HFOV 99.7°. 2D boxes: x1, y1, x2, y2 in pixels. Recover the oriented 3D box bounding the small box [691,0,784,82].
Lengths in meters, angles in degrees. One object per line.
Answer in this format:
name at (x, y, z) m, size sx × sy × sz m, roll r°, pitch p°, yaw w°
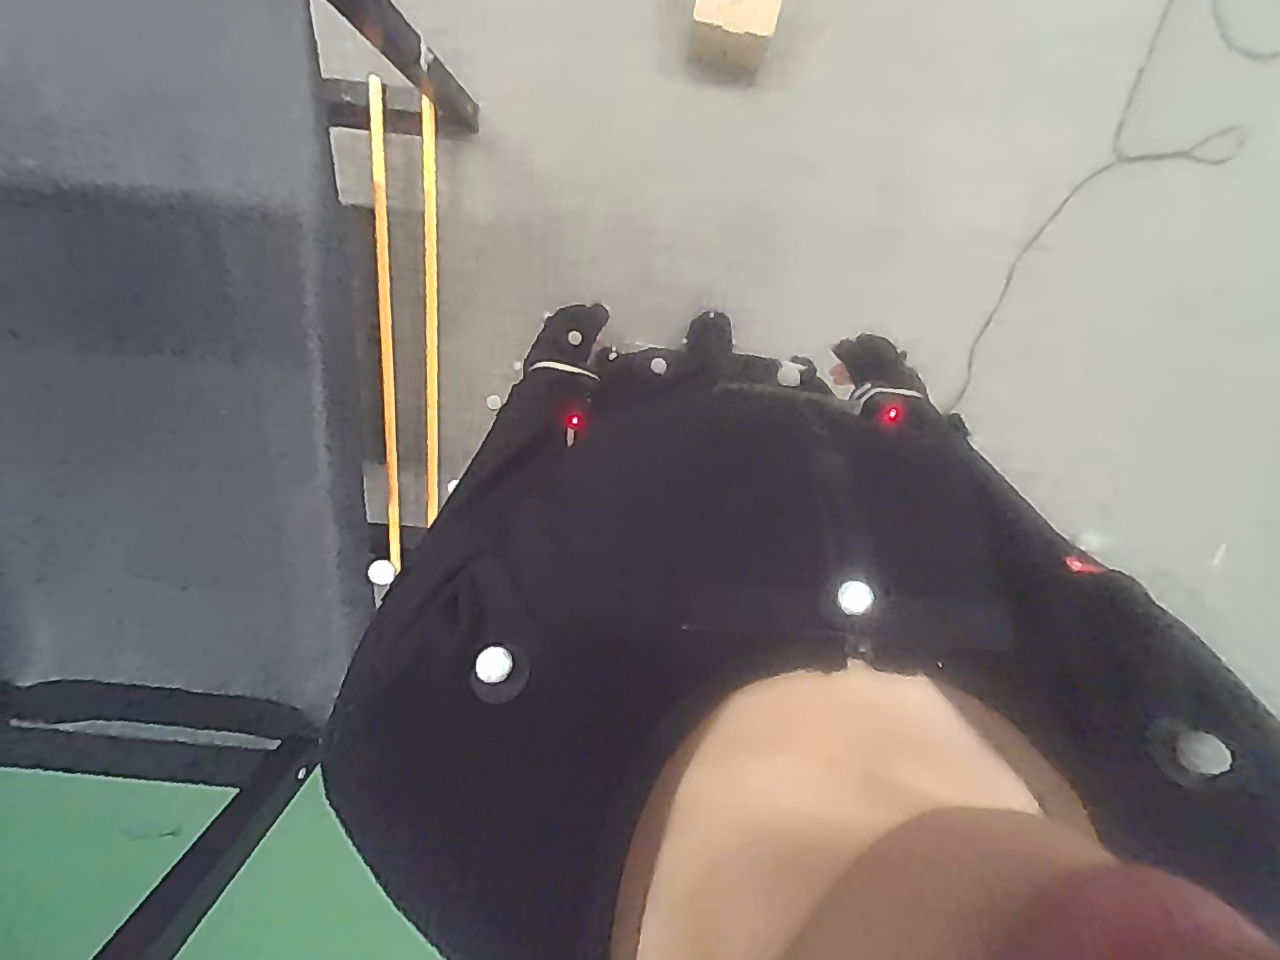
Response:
small box at (0.205, -0.981, 1.129) m, size 0.168 × 0.176 × 0.179 m, roll 12°, pitch 107°, yaw -1°
